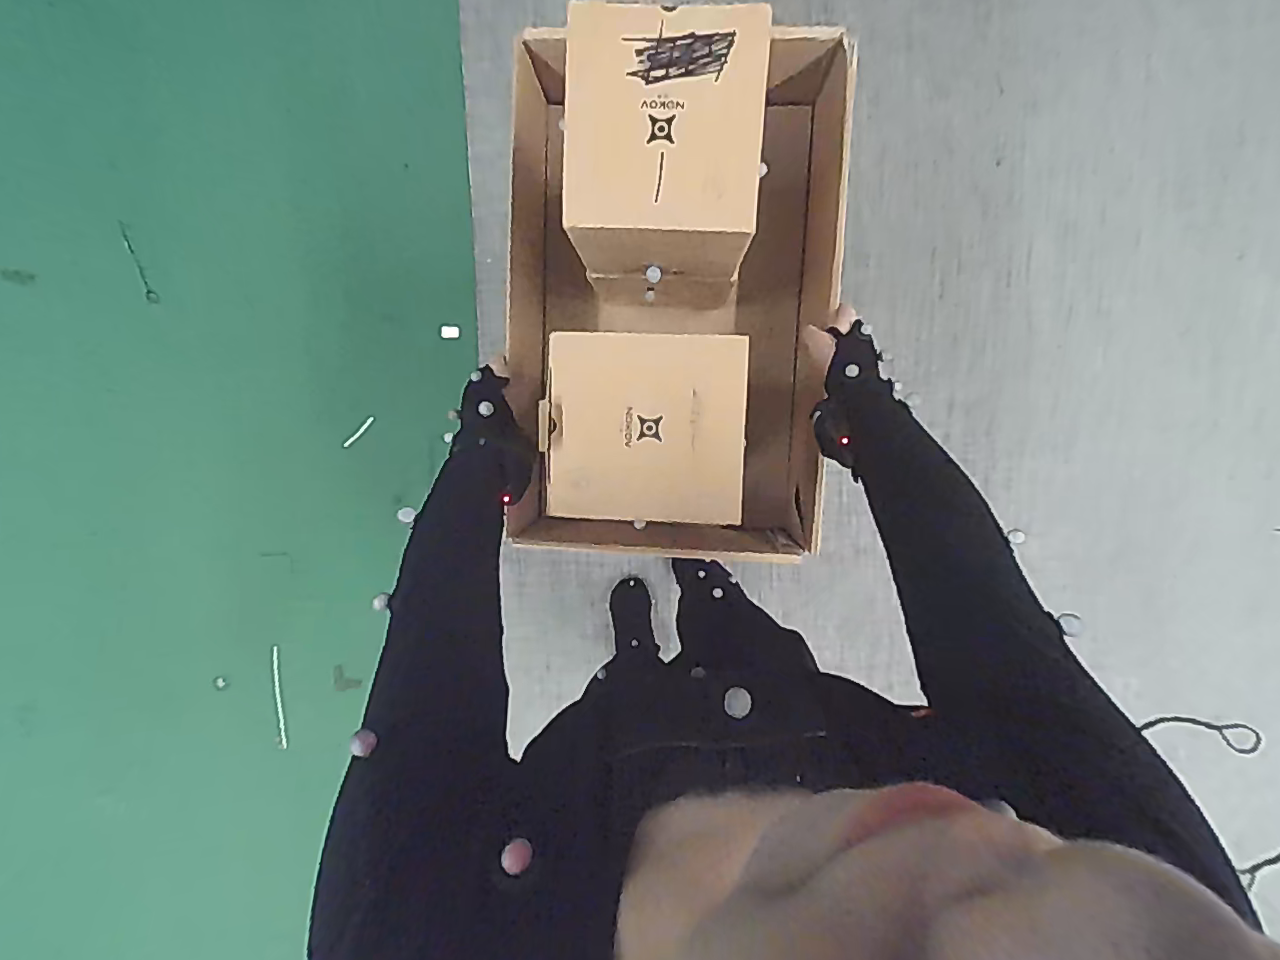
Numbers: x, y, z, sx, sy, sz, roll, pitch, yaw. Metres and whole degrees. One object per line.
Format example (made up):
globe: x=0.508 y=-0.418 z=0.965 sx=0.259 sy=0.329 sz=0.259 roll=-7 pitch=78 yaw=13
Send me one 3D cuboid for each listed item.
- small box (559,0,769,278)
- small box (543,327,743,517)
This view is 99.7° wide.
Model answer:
small box: x=0.020 y=-0.311 z=0.528 sx=0.168 sy=0.176 sz=0.179 roll=4 pitch=99 yaw=2
small box: x=0.004 y=-0.059 z=0.561 sx=0.179 sy=0.176 sz=0.168 roll=2 pitch=97 yaw=2
